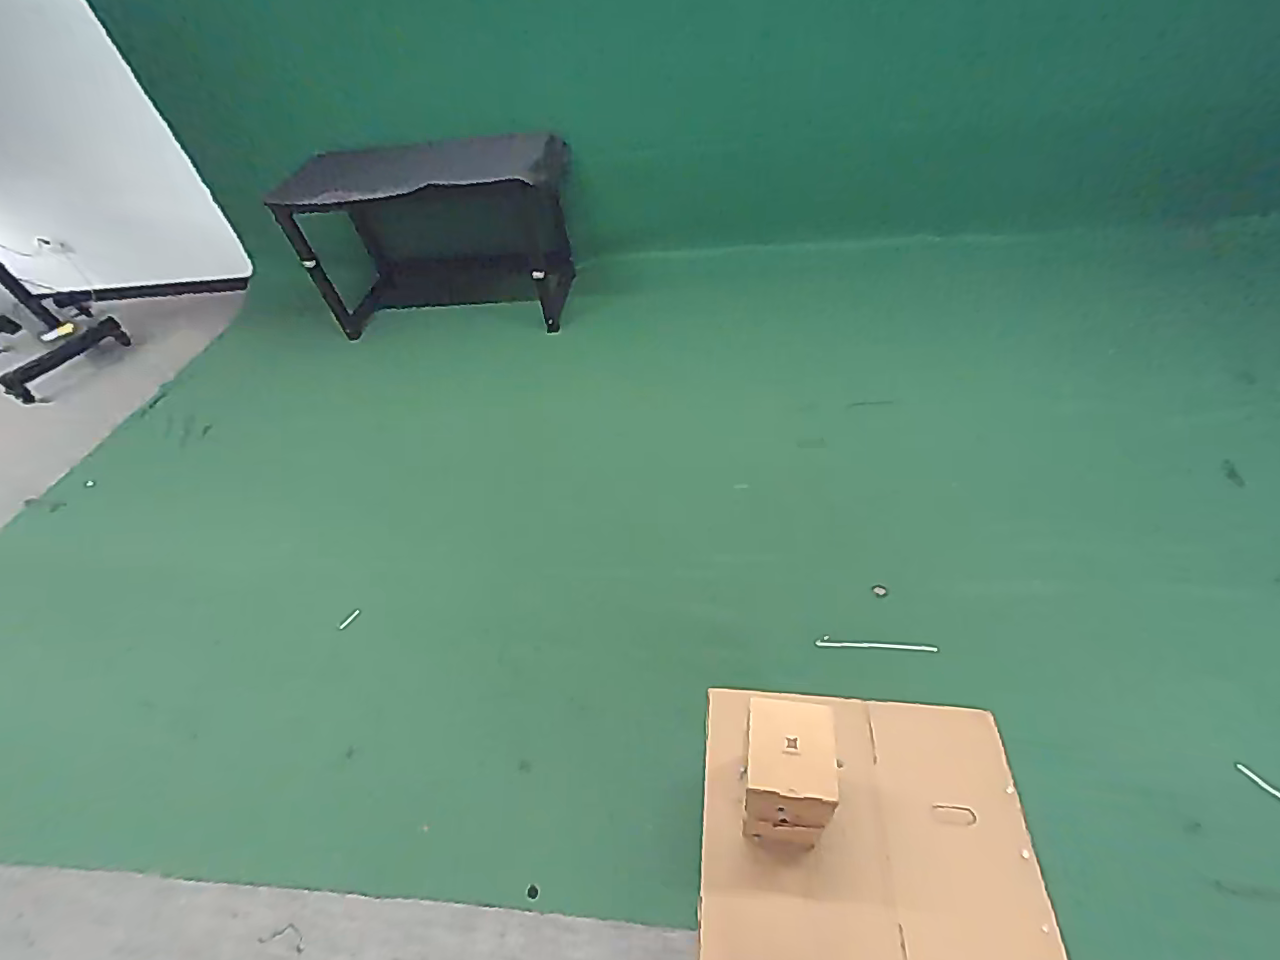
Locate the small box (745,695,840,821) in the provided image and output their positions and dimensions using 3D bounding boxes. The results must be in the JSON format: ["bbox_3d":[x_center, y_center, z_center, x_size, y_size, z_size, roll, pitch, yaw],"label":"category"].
[{"bbox_3d":[0.302,0.563,1.096,0.168,0.176,0.179,3,48,11],"label":"small box"}]

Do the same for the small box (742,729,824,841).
[{"bbox_3d":[0.313,0.683,1.206,0.168,0.176,0.179,2,46,11],"label":"small box"}]
